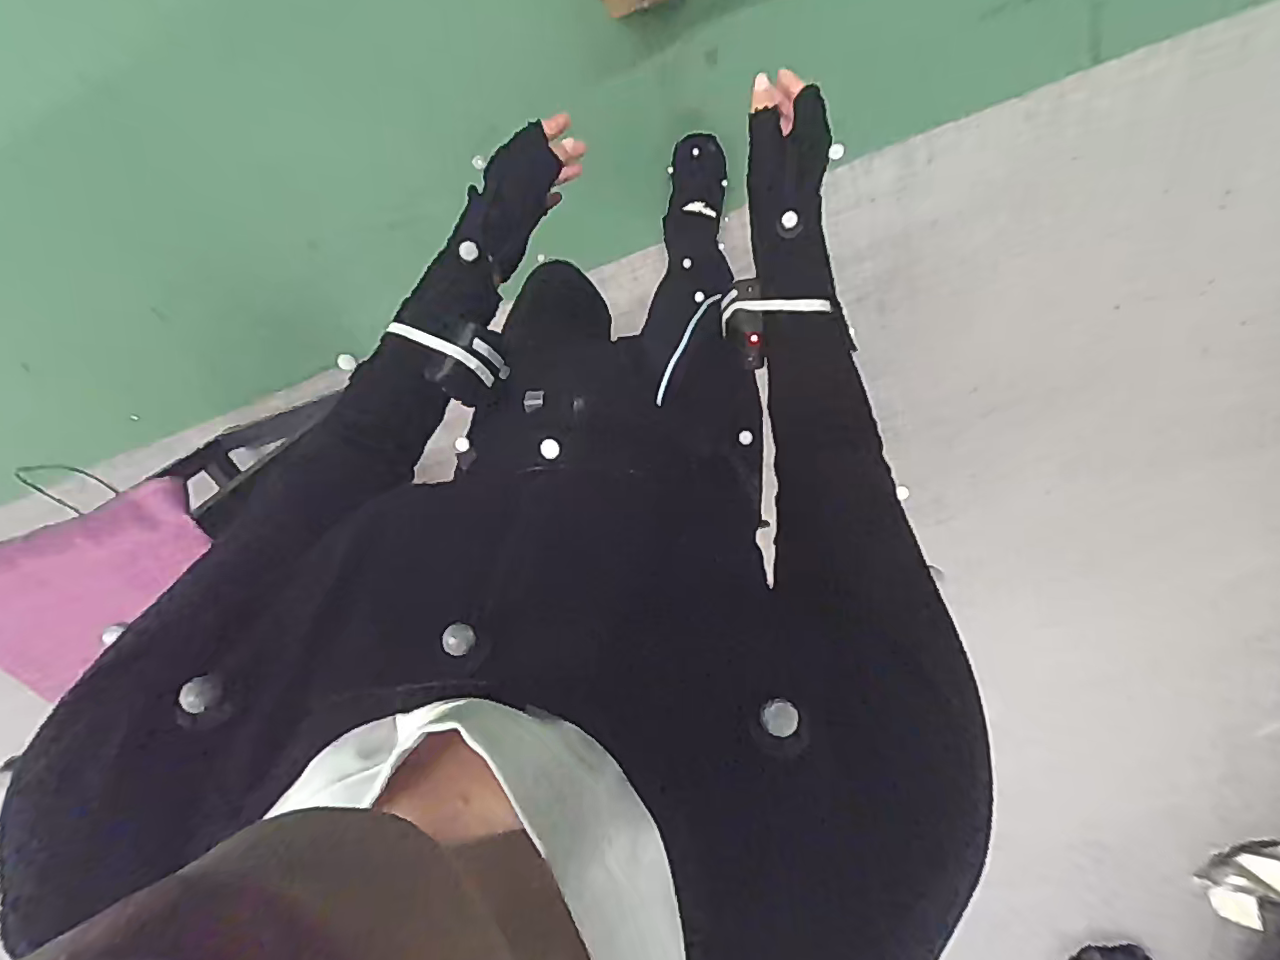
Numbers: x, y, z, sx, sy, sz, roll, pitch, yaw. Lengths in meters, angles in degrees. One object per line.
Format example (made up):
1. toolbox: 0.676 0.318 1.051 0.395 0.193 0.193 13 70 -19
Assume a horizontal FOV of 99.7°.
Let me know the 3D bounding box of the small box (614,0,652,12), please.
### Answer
1. small box: 0.004 -0.933 0.903 0.168 0.176 0.179 -13 120 12
